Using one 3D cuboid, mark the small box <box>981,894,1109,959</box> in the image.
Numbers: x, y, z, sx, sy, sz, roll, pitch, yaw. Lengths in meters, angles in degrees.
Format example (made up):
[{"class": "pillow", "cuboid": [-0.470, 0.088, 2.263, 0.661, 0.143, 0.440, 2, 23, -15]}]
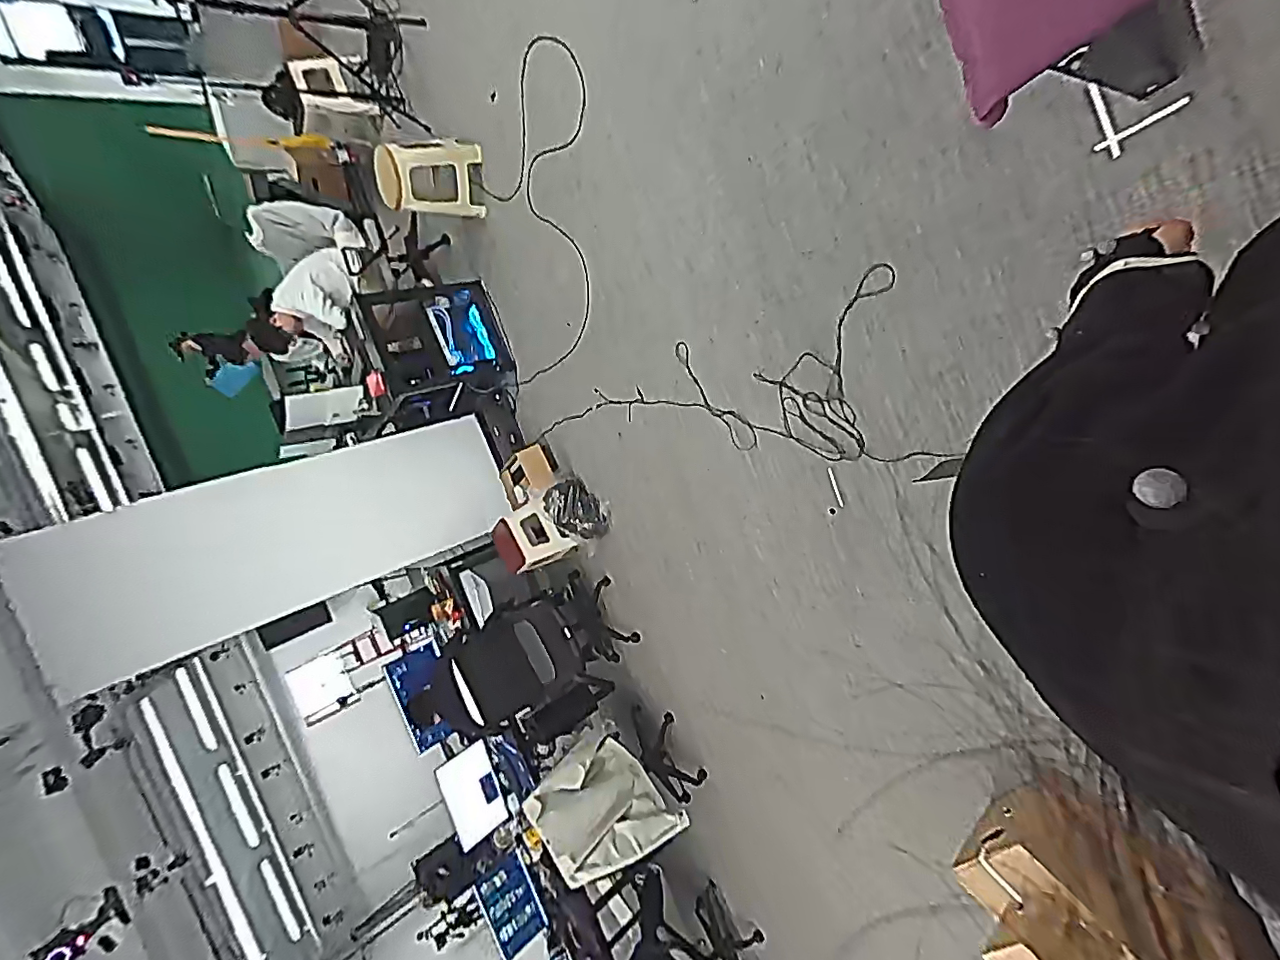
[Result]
[{"class": "small box", "cuboid": [0.988, 1.165, 1.312, 0.179, 0.176, 0.168, 44, 138, 32]}]
